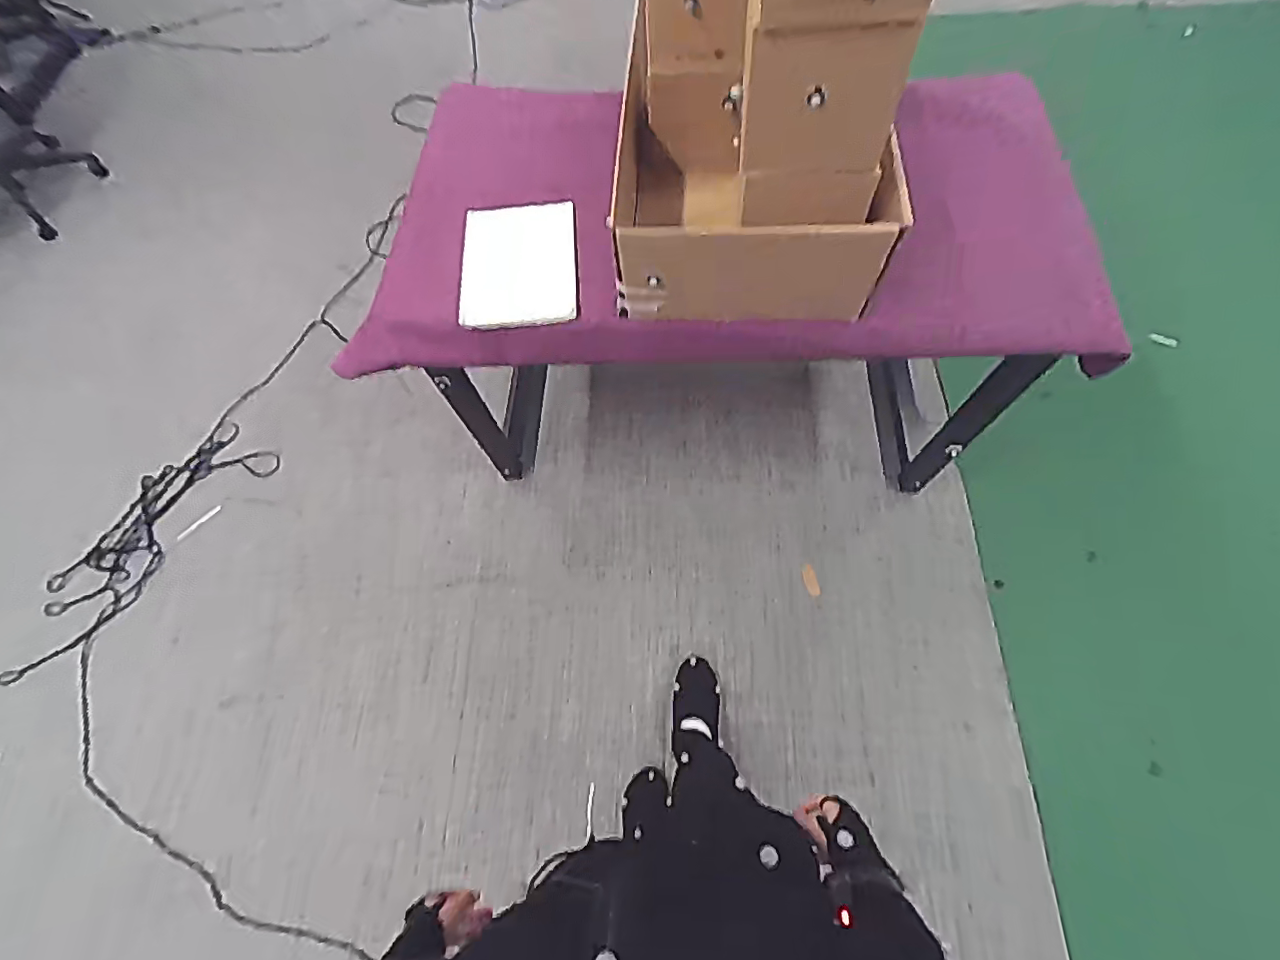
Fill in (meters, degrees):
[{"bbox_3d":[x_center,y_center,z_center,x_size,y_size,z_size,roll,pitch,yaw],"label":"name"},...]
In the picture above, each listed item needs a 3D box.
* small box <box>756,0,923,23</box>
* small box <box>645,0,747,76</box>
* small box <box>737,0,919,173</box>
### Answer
[{"bbox_3d":[0.203,-0.575,0.518,0.168,0.176,0.179,3,65,7],"label":"small box"},{"bbox_3d":[0.097,-0.717,0.776,0.168,0.176,0.179,3,68,6],"label":"small box"},{"bbox_3d":[0.215,-0.508,0.666,0.179,0.176,0.168,2,65,8],"label":"small box"}]
